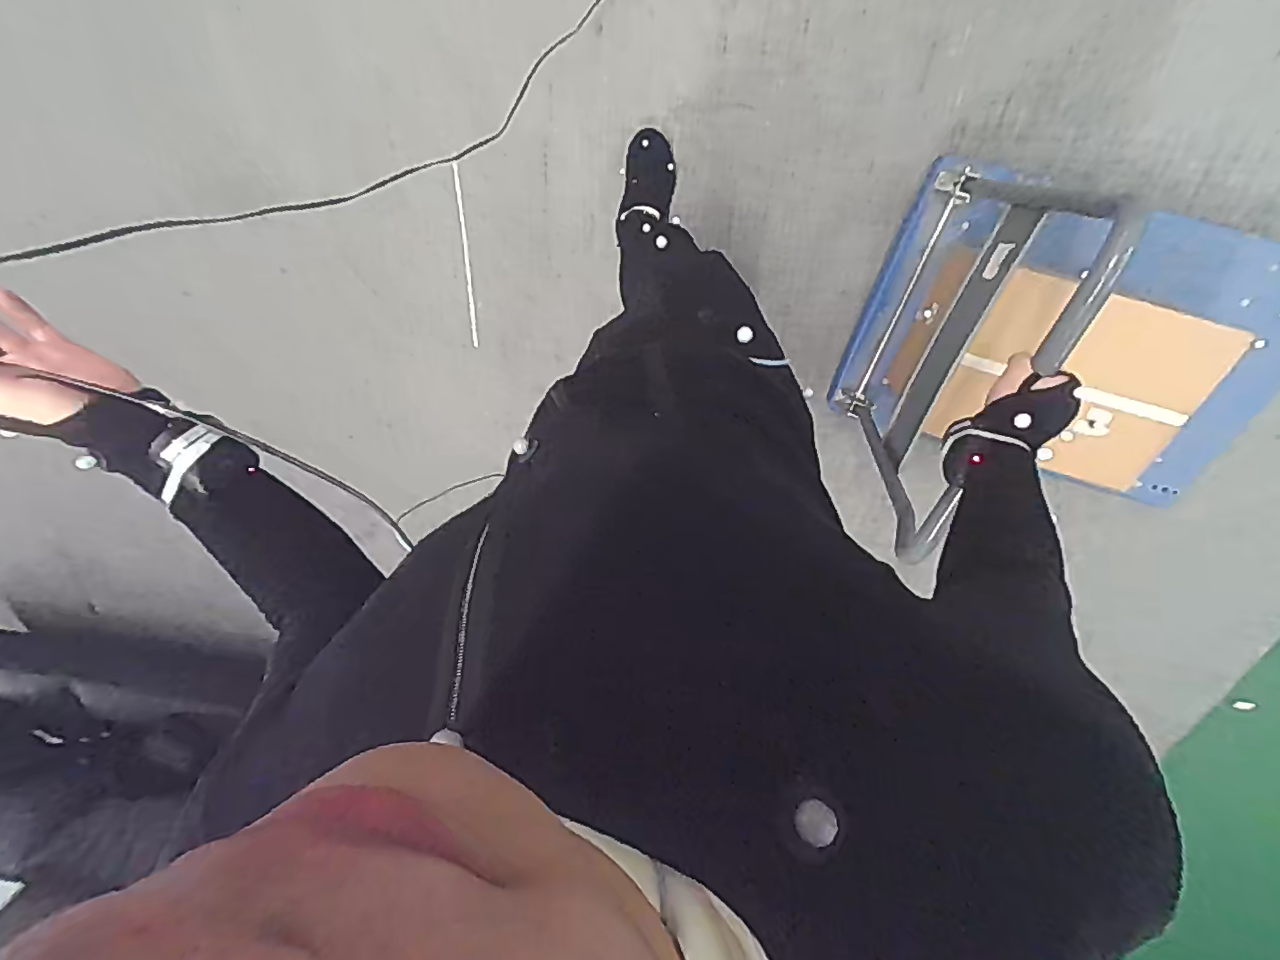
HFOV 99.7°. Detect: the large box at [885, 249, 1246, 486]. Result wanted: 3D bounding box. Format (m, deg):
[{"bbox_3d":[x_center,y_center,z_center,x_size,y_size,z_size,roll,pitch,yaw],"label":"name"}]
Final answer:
[{"bbox_3d":[0.778,-0.239,1.081,0.408,0.320,0.320,17,122,1],"label":"large box"}]
